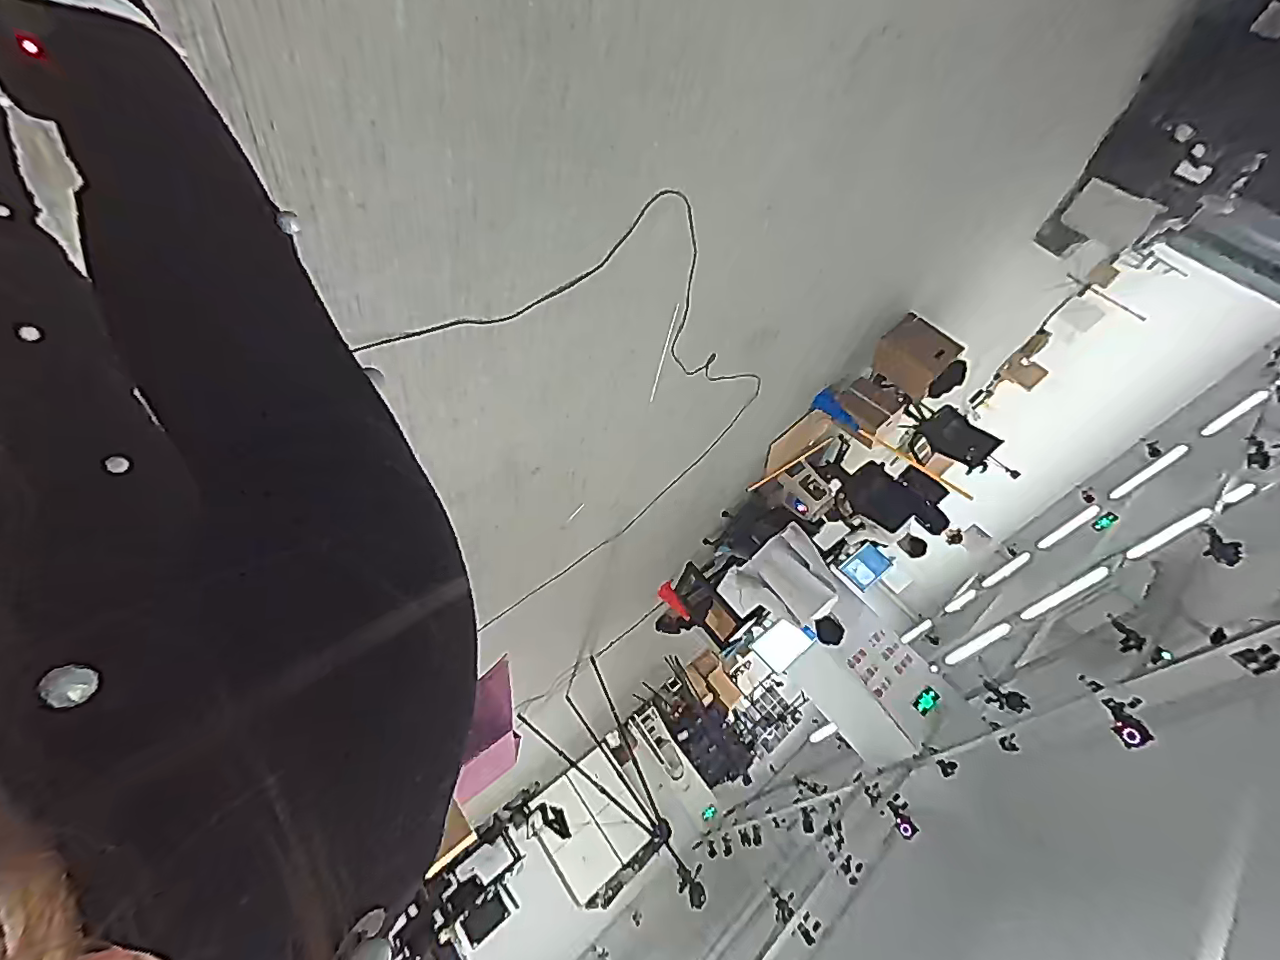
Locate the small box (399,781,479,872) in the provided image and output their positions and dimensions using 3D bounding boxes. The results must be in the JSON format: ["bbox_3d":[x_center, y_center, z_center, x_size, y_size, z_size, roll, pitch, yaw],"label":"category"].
[{"bbox_3d":[-0.613,1.059,1.658,0.168,0.176,0.179,-30,154,-30],"label":"small box"}]

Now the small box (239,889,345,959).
[{"bbox_3d":[-0.934,1.244,1.459,0.168,0.176,0.179,-31,156,-29],"label":"small box"}]
